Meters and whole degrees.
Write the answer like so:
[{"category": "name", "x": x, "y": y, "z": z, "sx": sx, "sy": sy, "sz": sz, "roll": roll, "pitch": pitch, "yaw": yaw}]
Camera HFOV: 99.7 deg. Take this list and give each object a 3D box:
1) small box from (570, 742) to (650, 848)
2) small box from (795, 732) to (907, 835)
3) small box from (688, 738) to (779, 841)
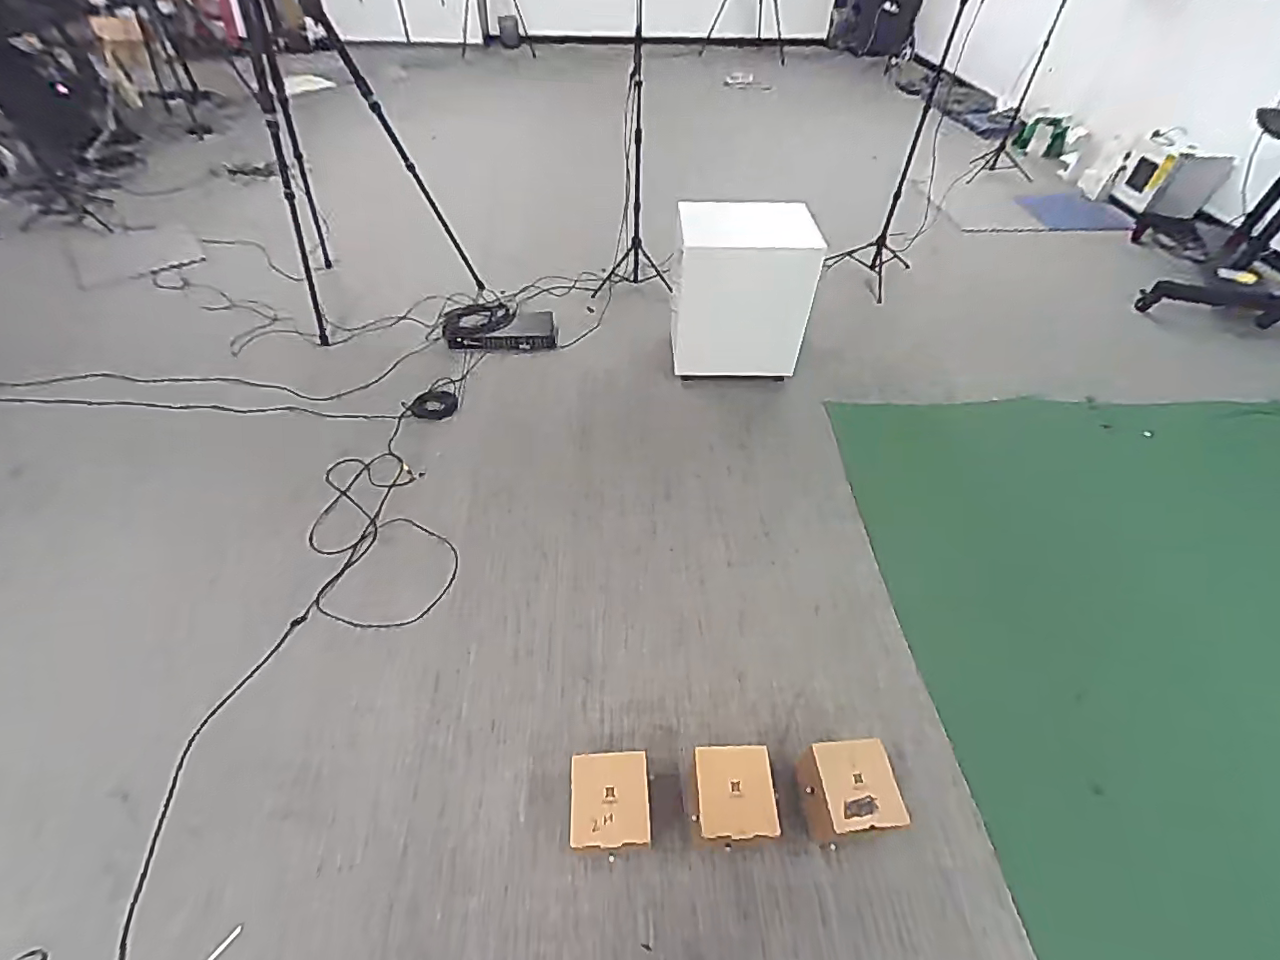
[{"category": "small box", "x": -0.066, "y": 0.707, "z": 1.212, "sx": 0.168, "sy": 0.176, "sz": 0.179, "roll": -2, "pitch": 49, "yaw": -2}, {"category": "small box", "x": 0.471, "y": 0.697, "z": 1.237, "sx": 0.168, "sy": 0.176, "sz": 0.179, "roll": -2, "pitch": 49, "yaw": -4}, {"category": "small box", "x": 0.202, "y": 0.703, "z": 1.226, "sx": 0.168, "sy": 0.176, "sz": 0.179, "roll": 0, "pitch": 49, "yaw": -2}]
